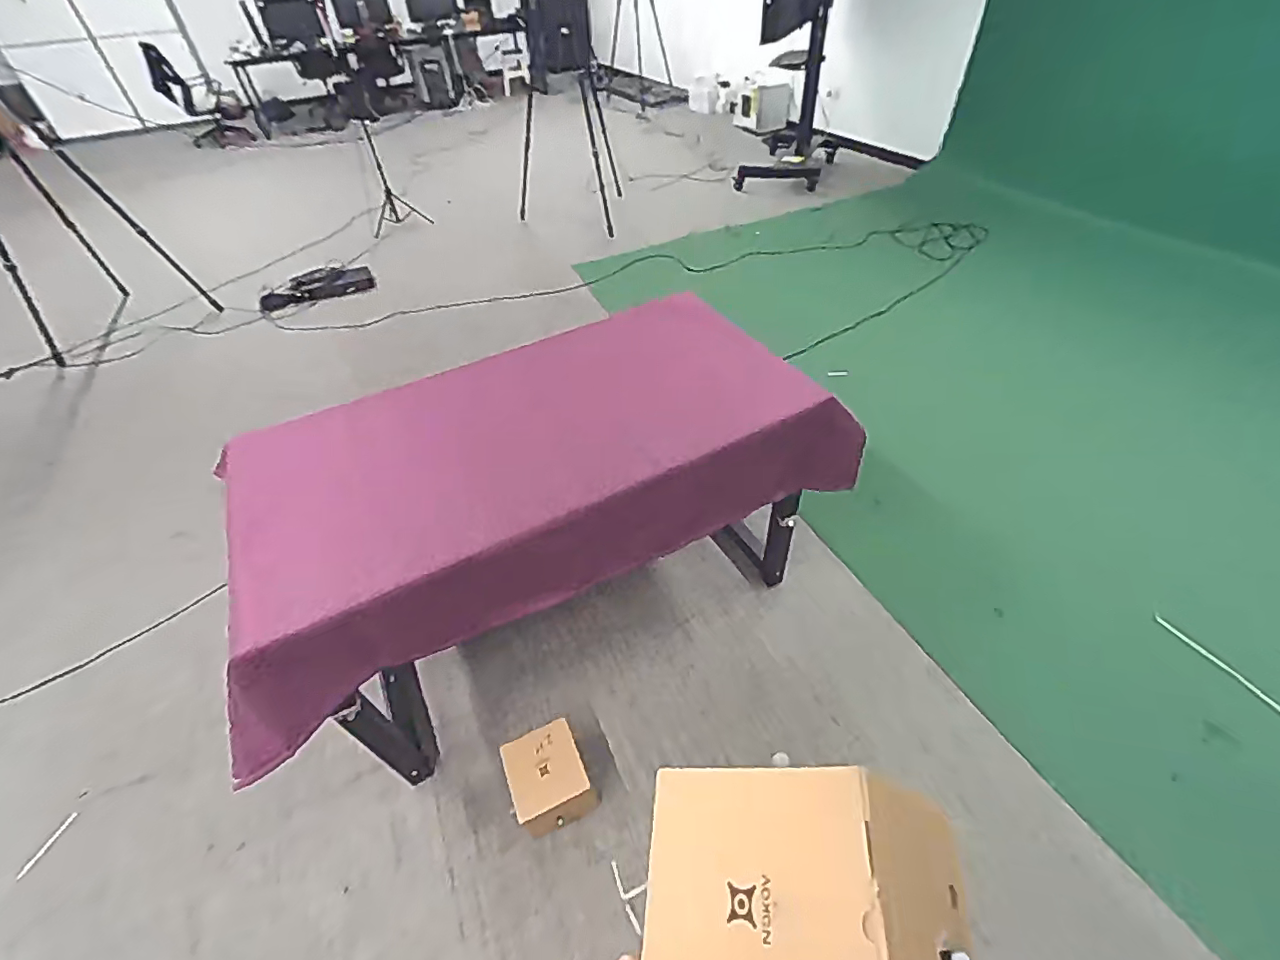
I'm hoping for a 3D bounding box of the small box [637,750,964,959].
[{"bbox_3d":[0.121,0.316,0.412,0.179,0.176,0.168,-24,44,35],"label":"small box"}]
